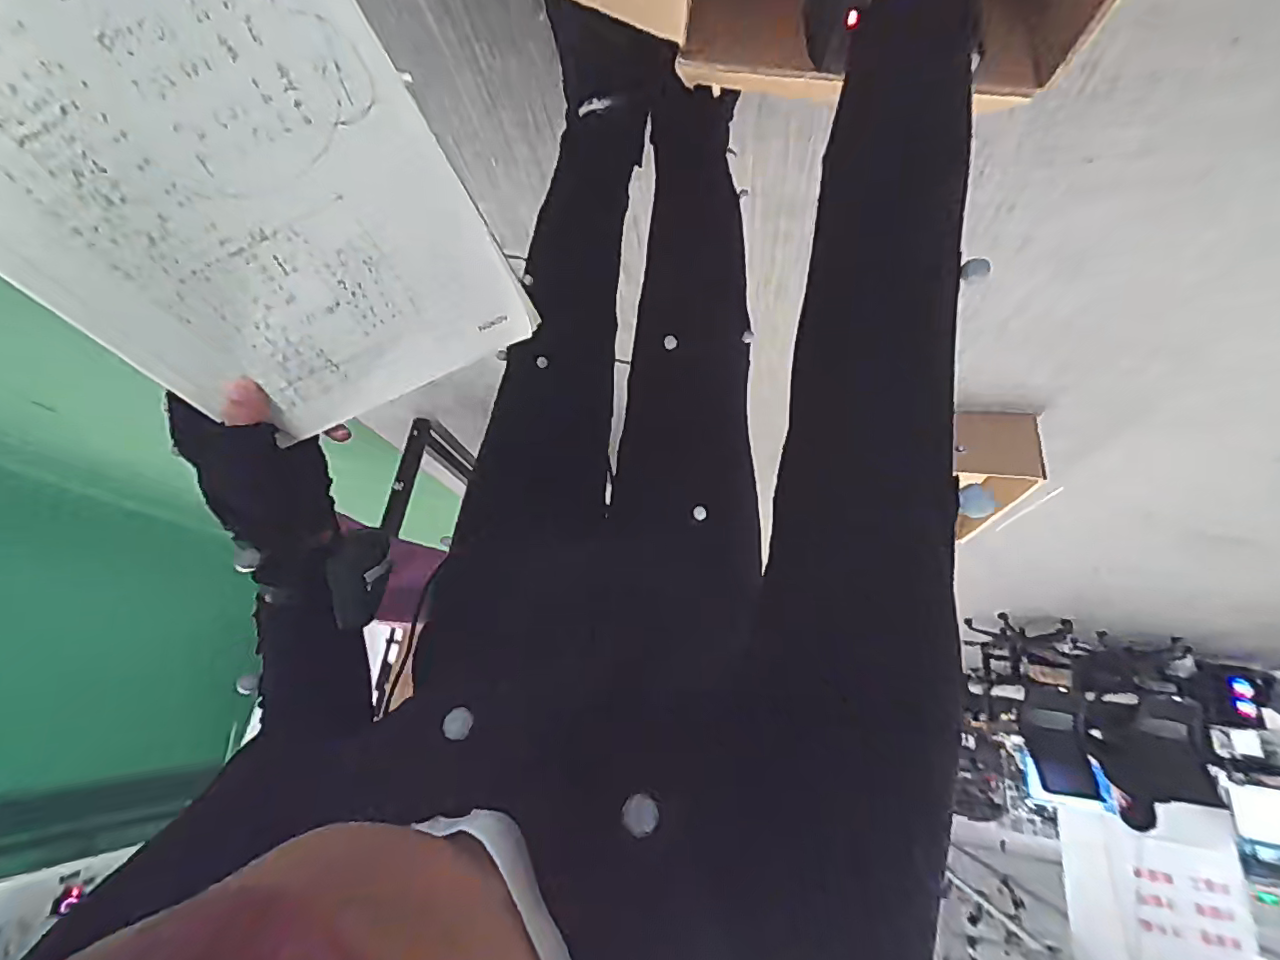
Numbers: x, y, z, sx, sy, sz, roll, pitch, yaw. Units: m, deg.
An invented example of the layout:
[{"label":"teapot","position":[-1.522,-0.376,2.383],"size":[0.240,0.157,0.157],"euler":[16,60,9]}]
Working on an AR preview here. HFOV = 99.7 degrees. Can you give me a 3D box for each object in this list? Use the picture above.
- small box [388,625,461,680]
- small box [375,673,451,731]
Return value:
[{"label":"small box","position":[-0.773,0.624,1.958],"size":[0.168,0.176,0.179],"euler":[6,160,8]},{"label":"small box","position":[-0.790,0.776,1.899],"size":[0.168,0.176,0.179],"euler":[6,159,9]}]
